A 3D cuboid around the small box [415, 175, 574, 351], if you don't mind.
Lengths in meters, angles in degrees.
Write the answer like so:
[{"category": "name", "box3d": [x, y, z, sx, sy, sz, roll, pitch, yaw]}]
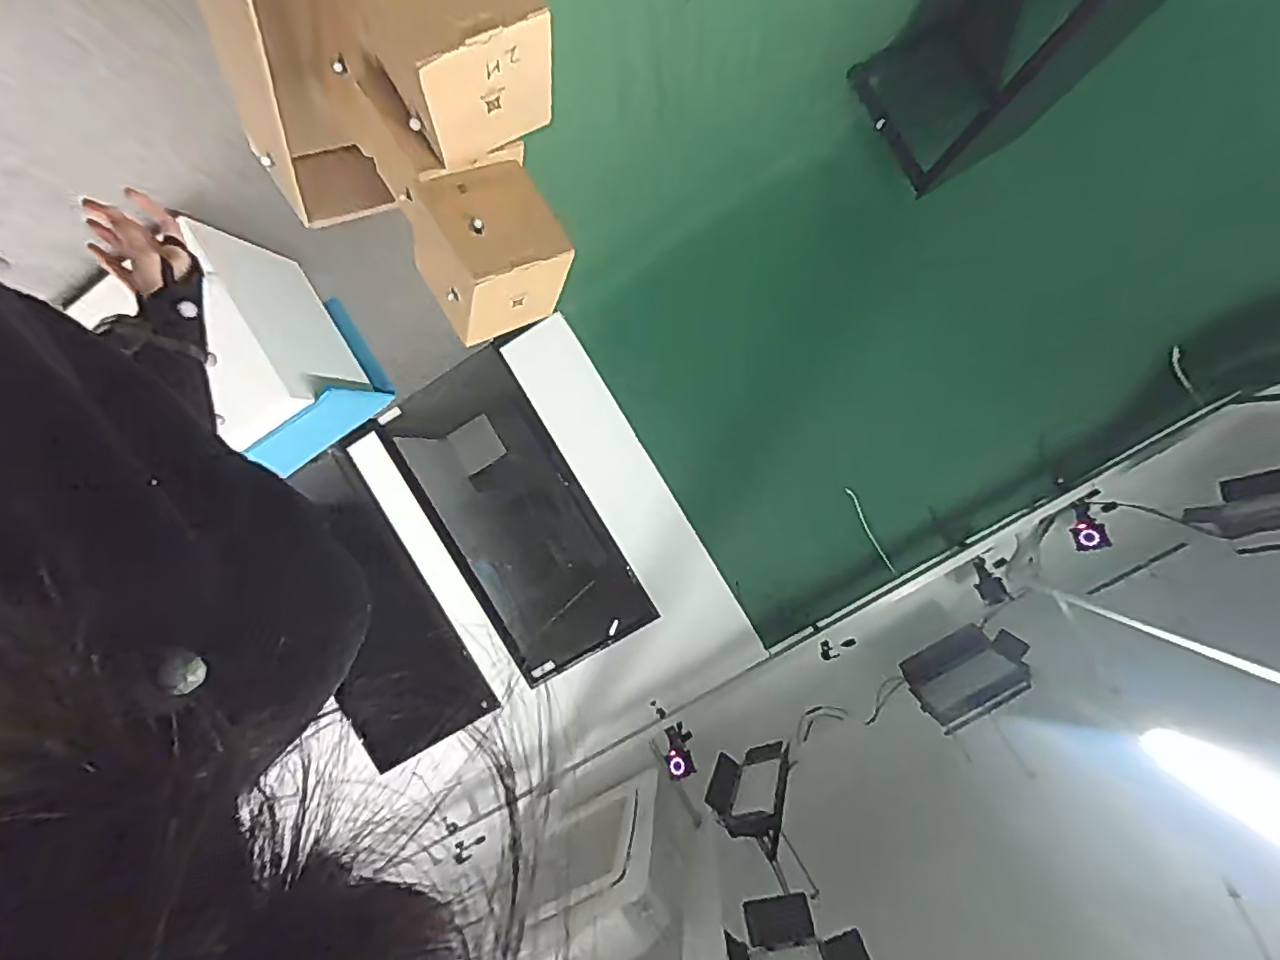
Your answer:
[{"category": "small box", "box3d": [-0.230, -0.336, 0.831, 0.168, 0.176, 0.179, -31, 176, -27]}]
